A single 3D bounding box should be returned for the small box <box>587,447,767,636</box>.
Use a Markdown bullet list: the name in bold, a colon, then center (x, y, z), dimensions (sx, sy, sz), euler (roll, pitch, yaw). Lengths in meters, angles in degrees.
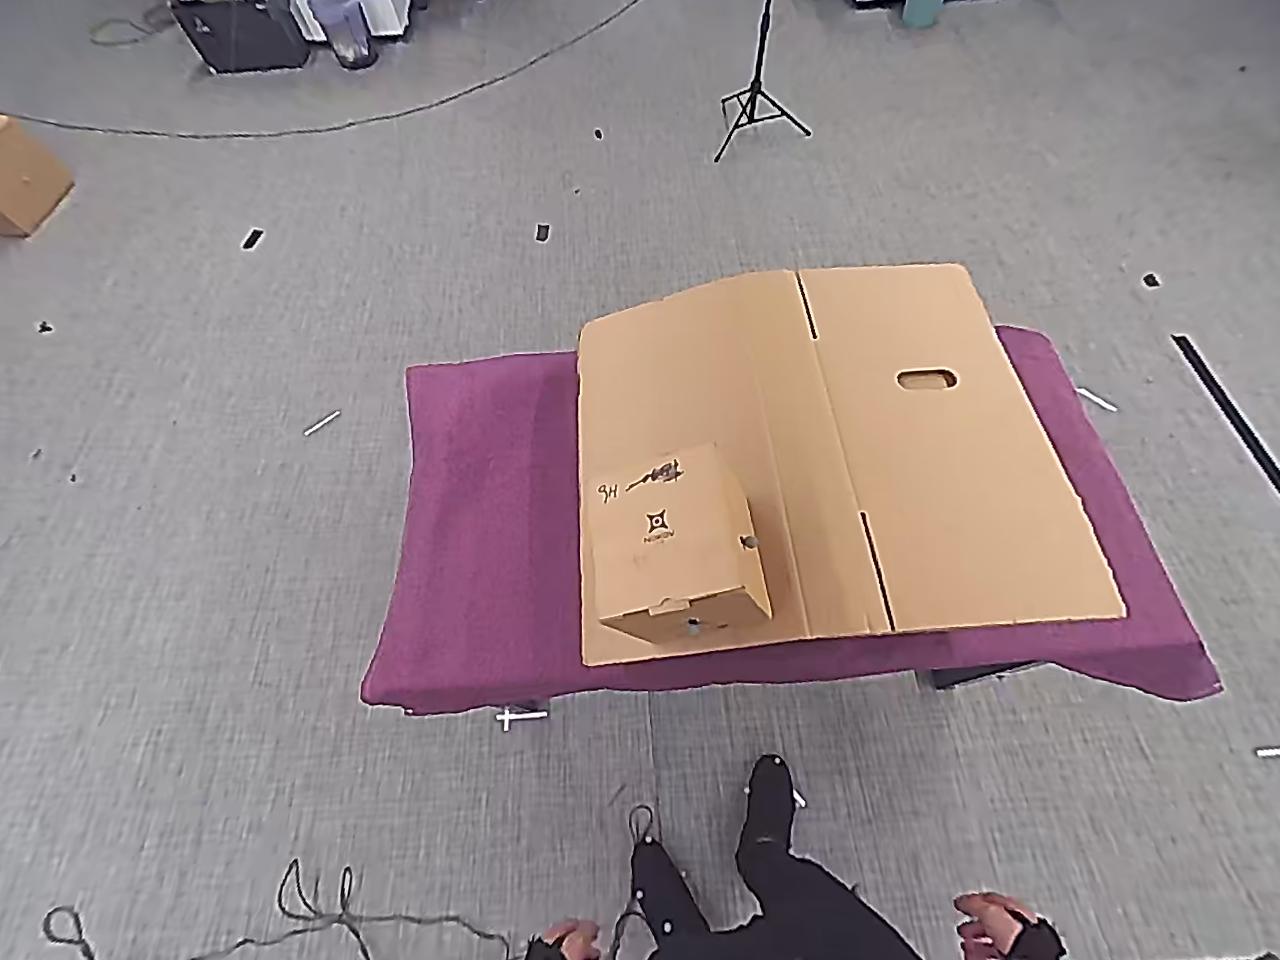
- **small box**: center (0.049, 0.089, 0.667), dimensions (0.168, 0.176, 0.179), euler (-16, 62, 16)
